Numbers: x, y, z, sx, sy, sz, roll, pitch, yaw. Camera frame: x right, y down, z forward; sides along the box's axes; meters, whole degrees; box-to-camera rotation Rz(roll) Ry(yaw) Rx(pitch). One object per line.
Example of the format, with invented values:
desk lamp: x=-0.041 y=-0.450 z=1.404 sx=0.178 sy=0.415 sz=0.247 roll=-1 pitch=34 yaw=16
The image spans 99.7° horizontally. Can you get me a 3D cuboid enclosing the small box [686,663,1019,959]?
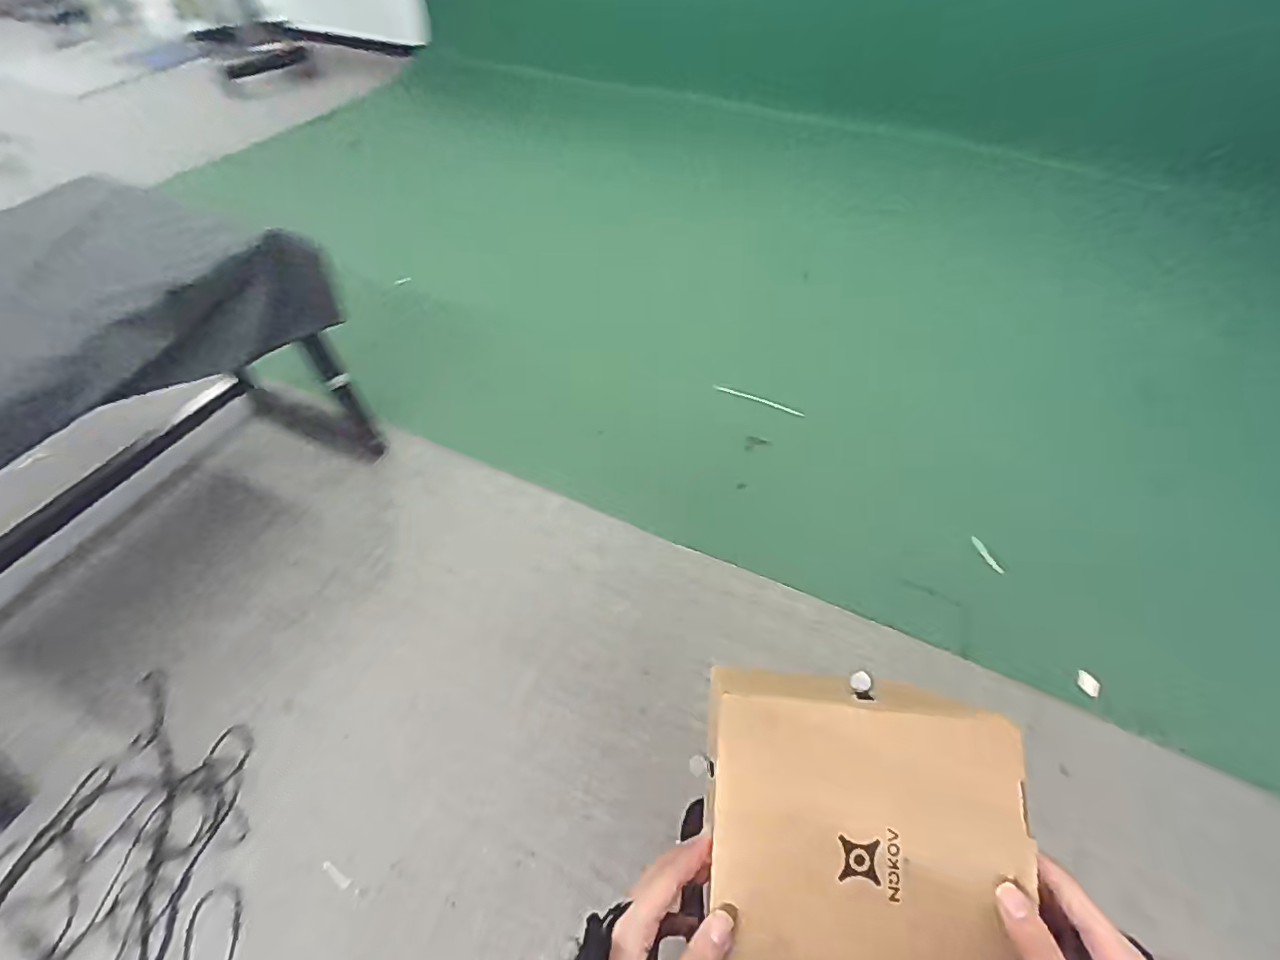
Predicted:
small box: x=0.124 y=0.226 z=0.383 sx=0.179 sy=0.176 sz=0.168 roll=2 pitch=76 yaw=5
